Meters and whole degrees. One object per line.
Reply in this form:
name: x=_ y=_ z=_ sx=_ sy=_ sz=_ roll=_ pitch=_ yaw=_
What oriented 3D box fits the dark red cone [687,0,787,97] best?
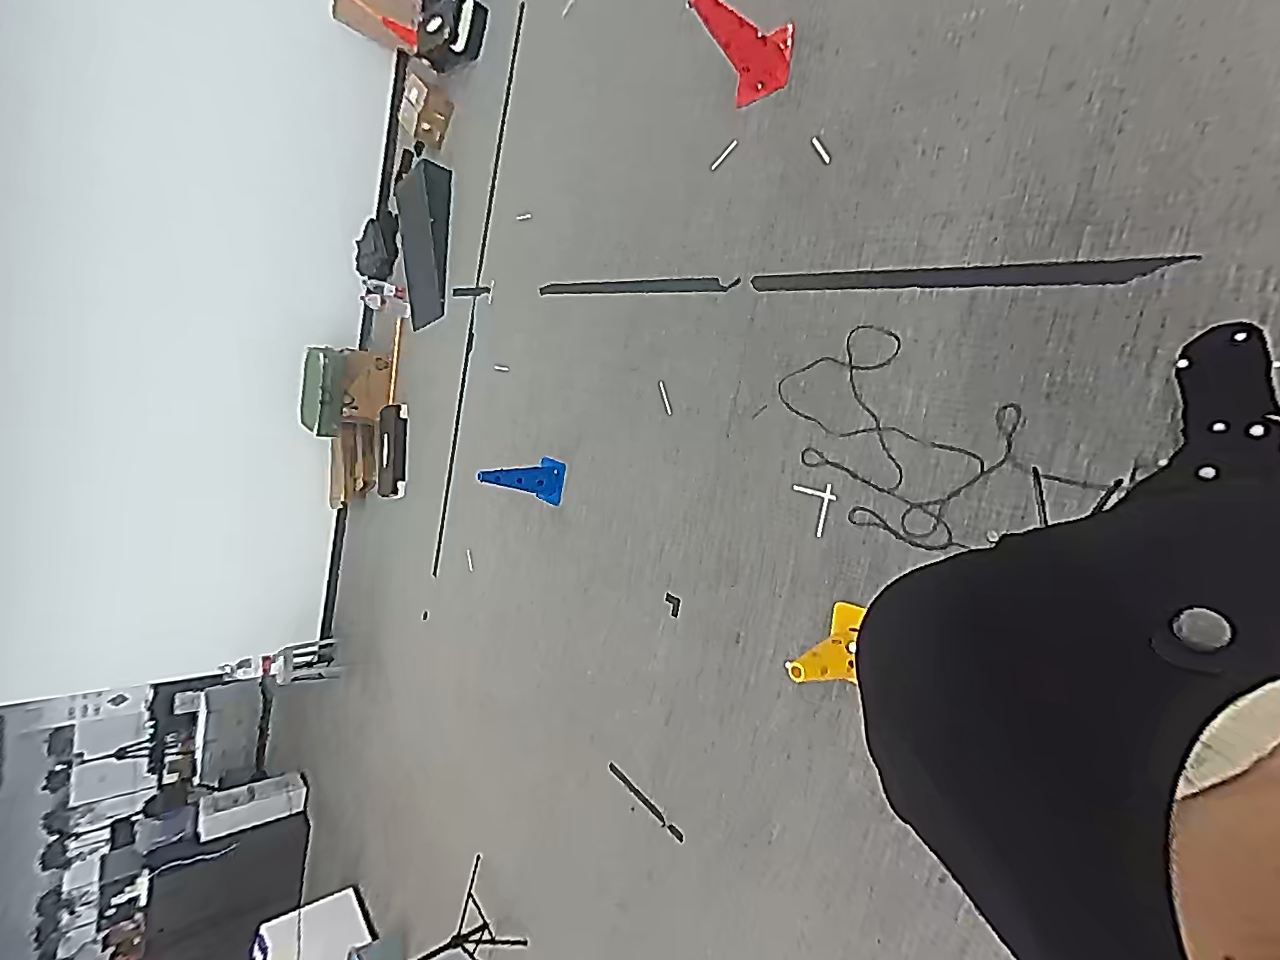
dark red cone: x=0.257 y=-1.360 z=1.618 sx=0.202 sy=0.394 sz=0.201 roll=8 pitch=94 yaw=47

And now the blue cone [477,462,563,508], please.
blue cone: x=-0.534 y=0.013 z=2.383 sx=0.193 sy=0.380 sz=0.192 roll=20 pitch=102 yaw=46
